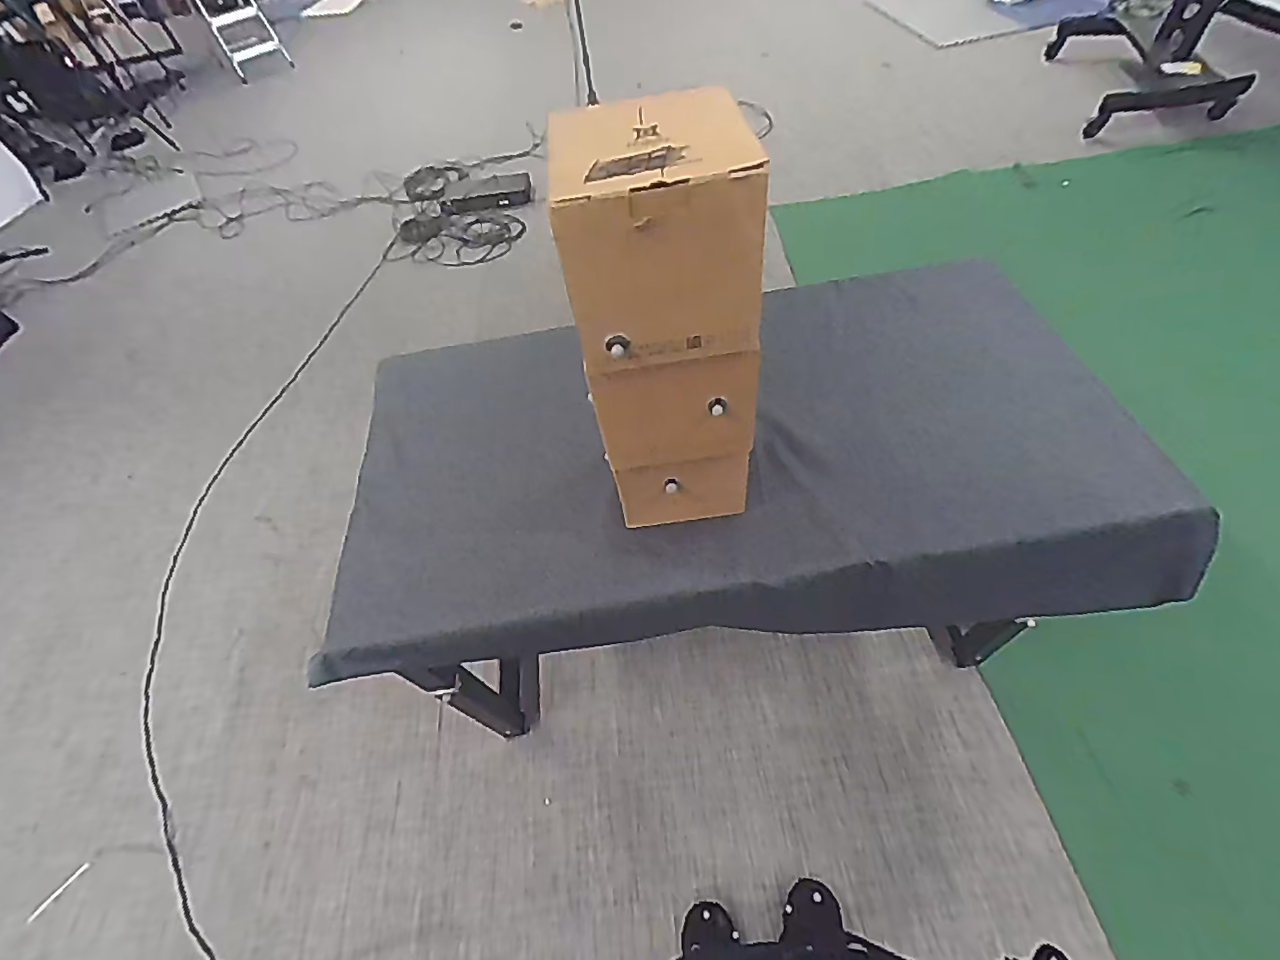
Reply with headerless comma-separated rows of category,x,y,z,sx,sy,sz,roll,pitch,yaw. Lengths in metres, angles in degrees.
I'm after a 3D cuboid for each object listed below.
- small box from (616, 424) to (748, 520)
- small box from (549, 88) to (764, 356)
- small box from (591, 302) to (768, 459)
small box,0.052,-0.058,0.789,0.179,0.176,0.168,-10,53,0
small box,0.015,-0.232,0.511,0.168,0.176,0.179,-8,53,2
small box,0.035,-0.146,0.631,0.179,0.176,0.168,-11,54,-1
